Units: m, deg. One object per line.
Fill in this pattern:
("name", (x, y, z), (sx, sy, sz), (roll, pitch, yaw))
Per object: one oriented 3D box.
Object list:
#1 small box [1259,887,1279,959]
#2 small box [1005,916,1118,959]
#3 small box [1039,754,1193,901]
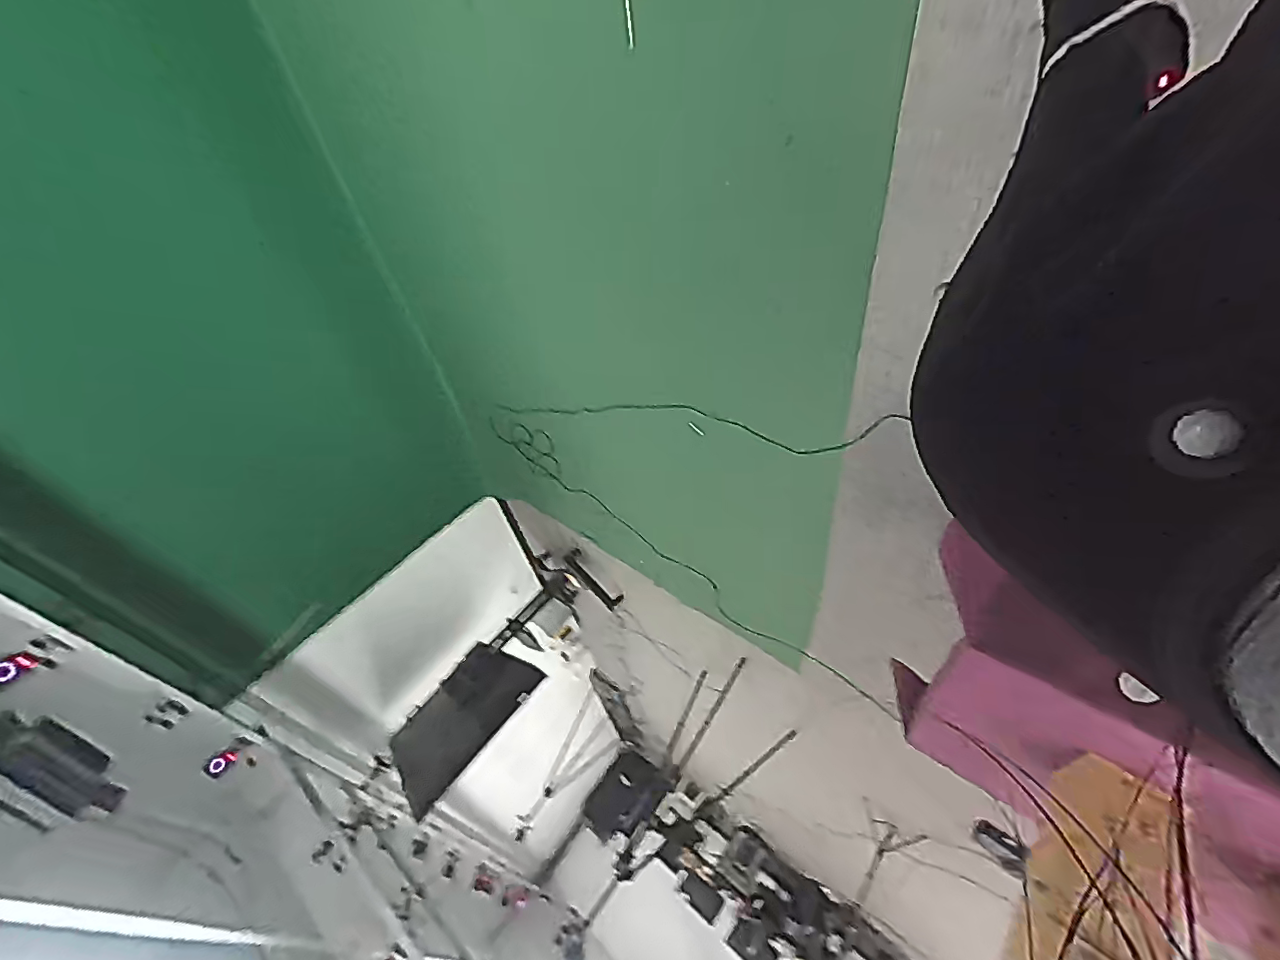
("small box", (1.188, 0.809, 0.893), (0.179, 0.176, 0.168), (27, 148, 30))
("small box", (0.726, 0.878, 0.904), (0.168, 0.176, 0.179), (26, 146, 30))
("small box", (0.931, 0.675, 1.062), (0.168, 0.176, 0.179), (28, 148, 29))
